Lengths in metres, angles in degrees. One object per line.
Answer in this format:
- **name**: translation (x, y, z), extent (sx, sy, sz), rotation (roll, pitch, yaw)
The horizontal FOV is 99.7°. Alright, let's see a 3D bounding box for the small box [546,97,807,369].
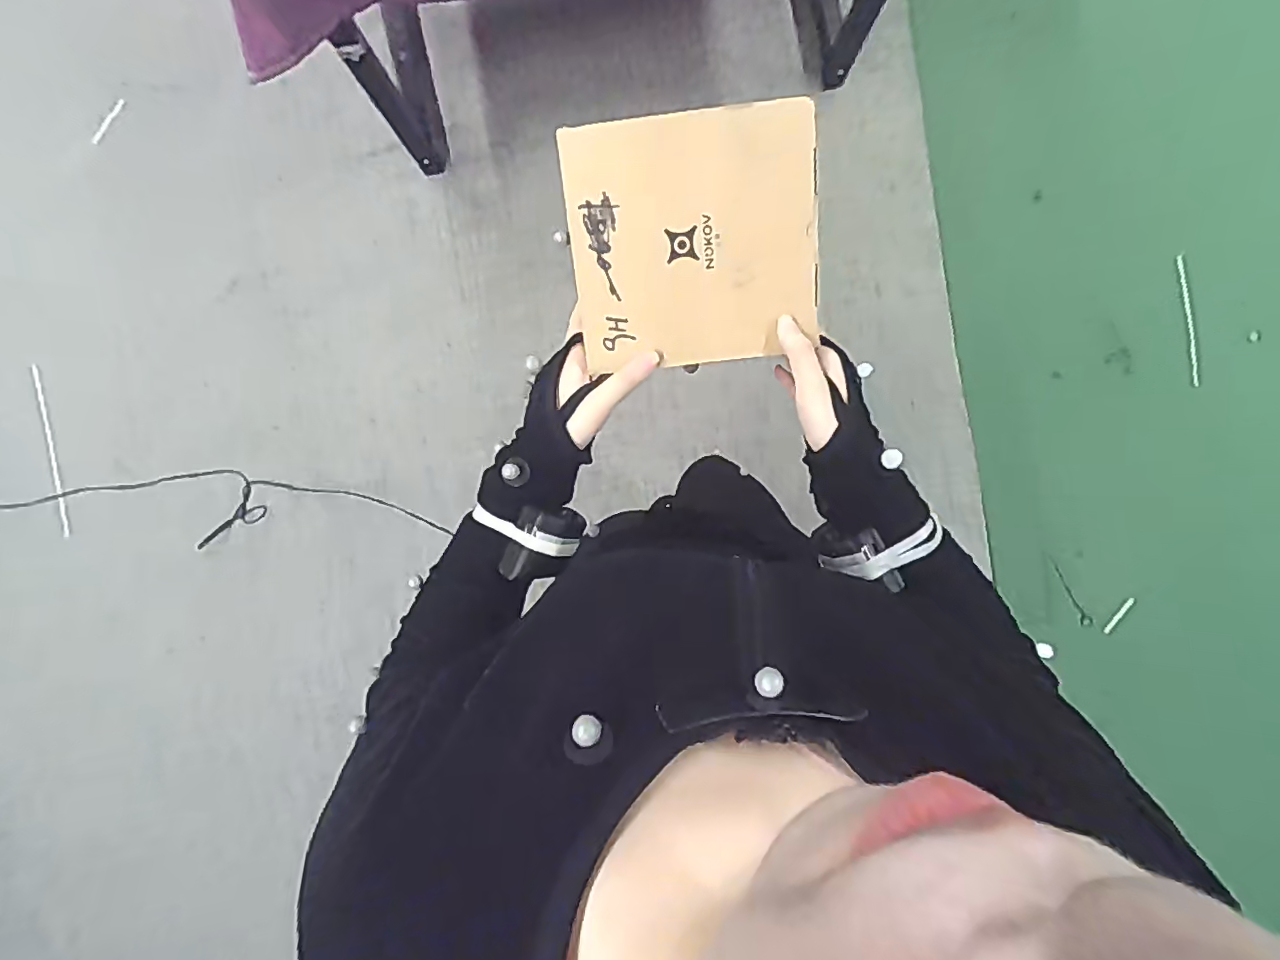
- **small box**: translation (0.029, -0.190, 0.458), extent (0.179, 0.176, 0.168), rotation (-6, 105, 2)
